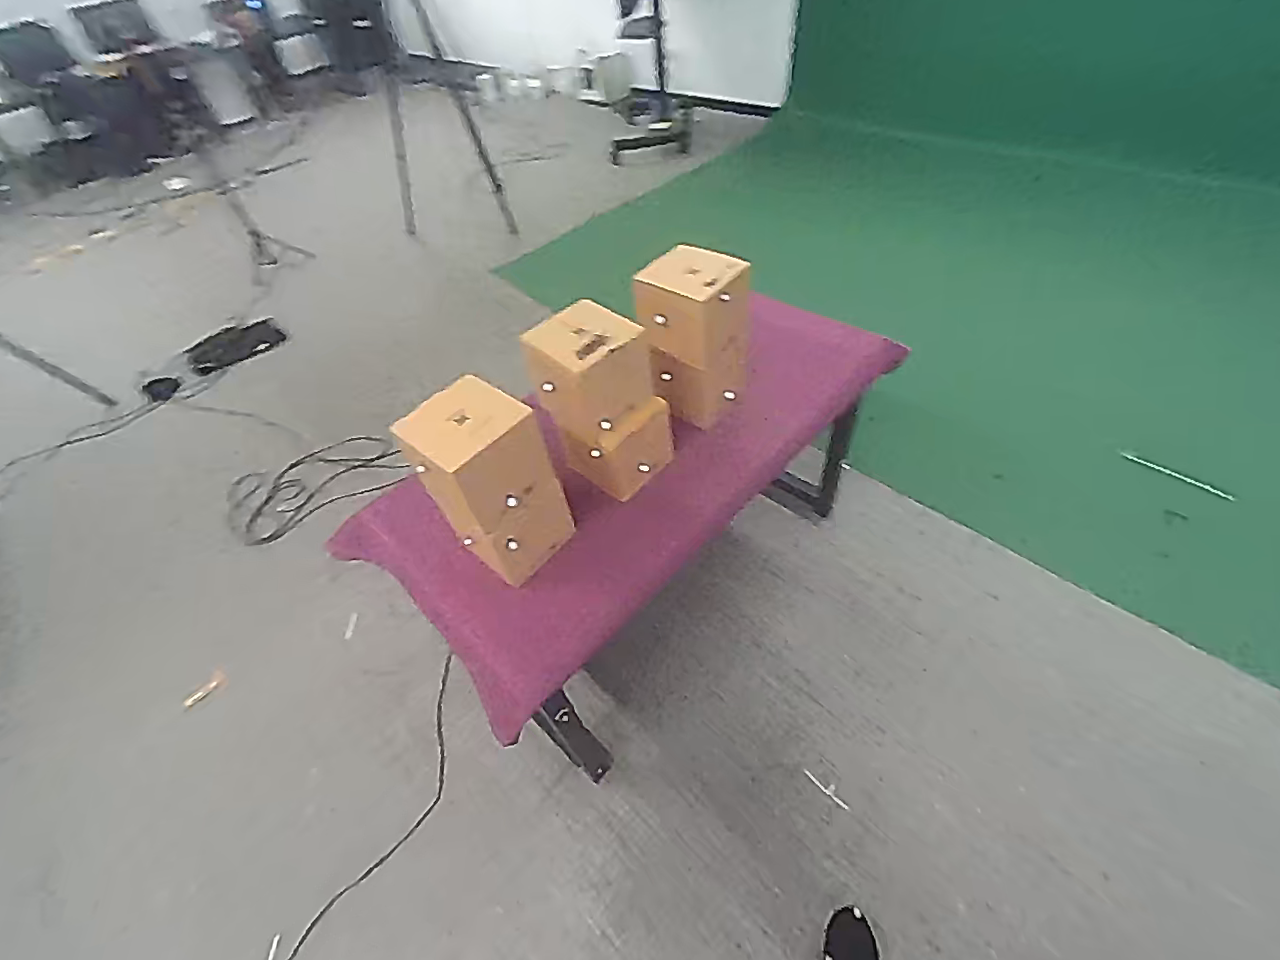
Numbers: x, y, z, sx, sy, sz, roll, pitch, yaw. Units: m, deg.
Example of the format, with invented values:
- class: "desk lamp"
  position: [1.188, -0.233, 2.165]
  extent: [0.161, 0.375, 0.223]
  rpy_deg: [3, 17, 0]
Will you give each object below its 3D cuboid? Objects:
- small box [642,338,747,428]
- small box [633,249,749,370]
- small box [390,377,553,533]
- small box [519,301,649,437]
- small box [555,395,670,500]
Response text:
- class: "small box"
  position: [0.128, -0.247, 1.256]
  extent: [0.179, 0.176, 0.168]
  rpy_deg: [31, 60, 30]
- class: "small box"
  position: [0.110, -0.356, 1.135]
  extent: [0.179, 0.176, 0.168]
  rpy_deg: [29, 59, 30]
- class: "small box"
  position: [-0.275, -0.040, 0.912]
  extent: [0.179, 0.176, 0.168]
  rpy_deg: [30, 59, 30]
- class: "small box"
  position: [-0.099, -0.207, 1.036]
  extent: [0.168, 0.176, 0.179]
  rpy_deg: [-38, 54, -23]
- class: "small box"
  position: [-0.054, -0.089, 1.146]
  extent: [0.179, 0.176, 0.168]
  rpy_deg: [32, 60, 30]
